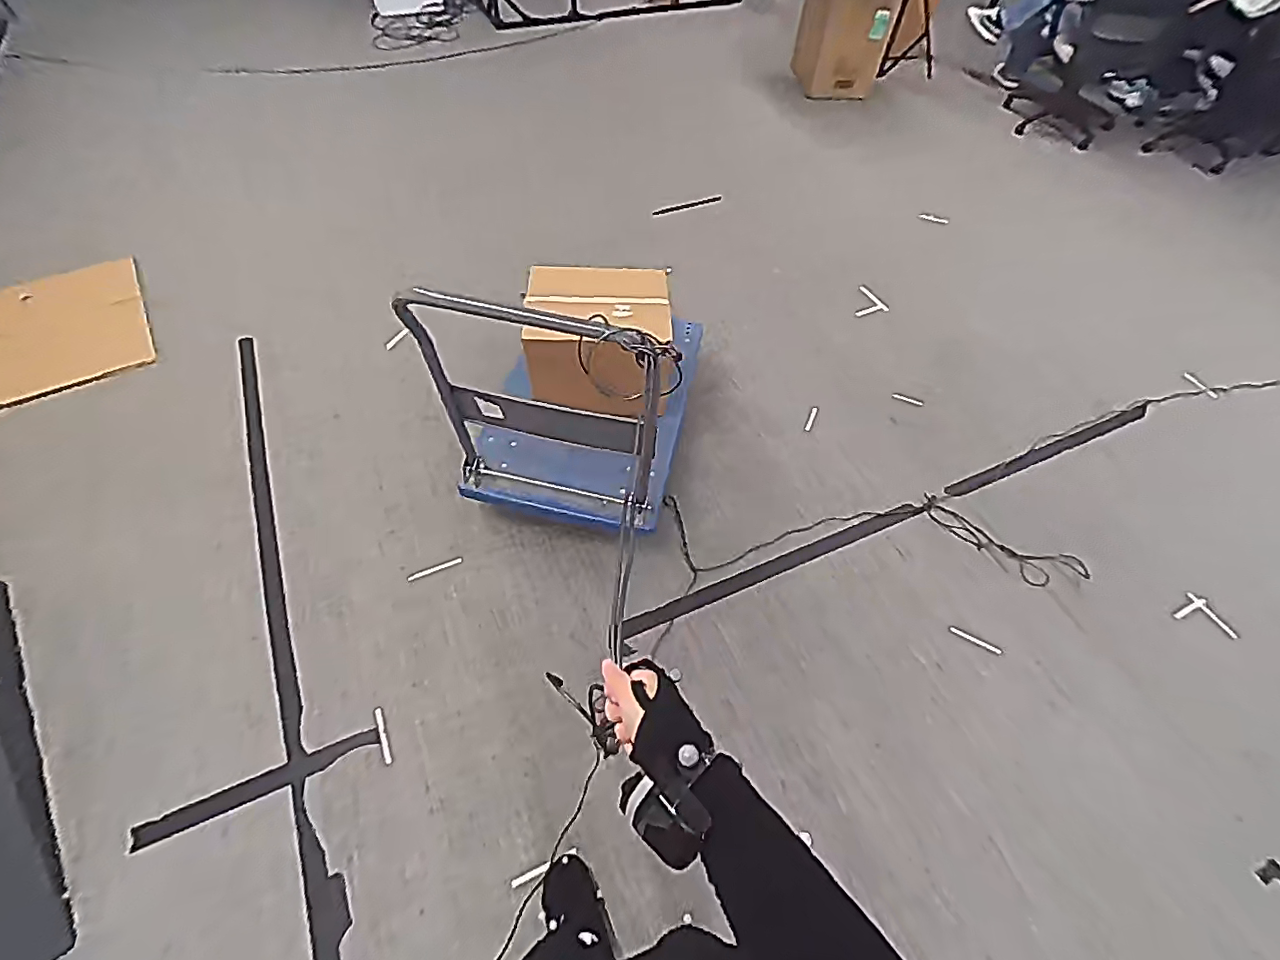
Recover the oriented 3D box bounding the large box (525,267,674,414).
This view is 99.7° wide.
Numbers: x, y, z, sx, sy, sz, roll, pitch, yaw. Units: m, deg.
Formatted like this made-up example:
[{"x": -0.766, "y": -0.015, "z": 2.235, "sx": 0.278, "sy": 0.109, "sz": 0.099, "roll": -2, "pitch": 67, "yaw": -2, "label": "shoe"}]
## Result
[{"x": -0.121, "y": -0.412, "z": 1.629, "sx": 0.408, "sy": 0.320, "sz": 0.320, "roll": 1, "pitch": 58, "yaw": -4, "label": "large box"}]
